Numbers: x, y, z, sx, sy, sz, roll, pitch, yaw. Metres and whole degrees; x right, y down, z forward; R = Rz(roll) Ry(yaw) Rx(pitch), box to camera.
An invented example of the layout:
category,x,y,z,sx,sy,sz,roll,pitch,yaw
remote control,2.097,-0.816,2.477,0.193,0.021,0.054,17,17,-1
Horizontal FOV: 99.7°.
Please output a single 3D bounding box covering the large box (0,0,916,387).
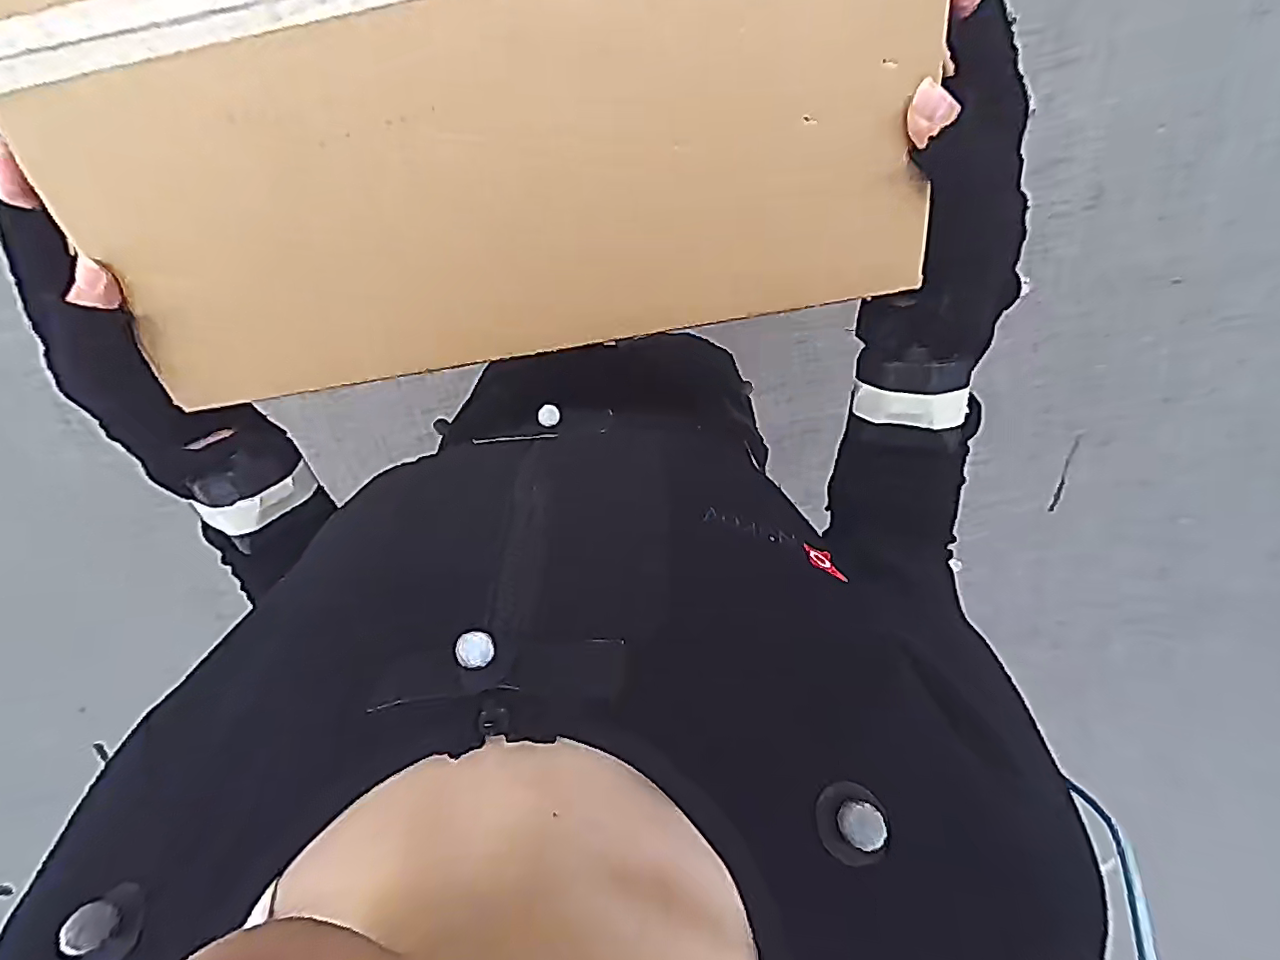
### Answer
category,x,y,z,sx,sy,sz,roll,pitch,yaw
large box,-0.088,-0.287,0.352,0.408,0.320,0.320,-9,120,4
